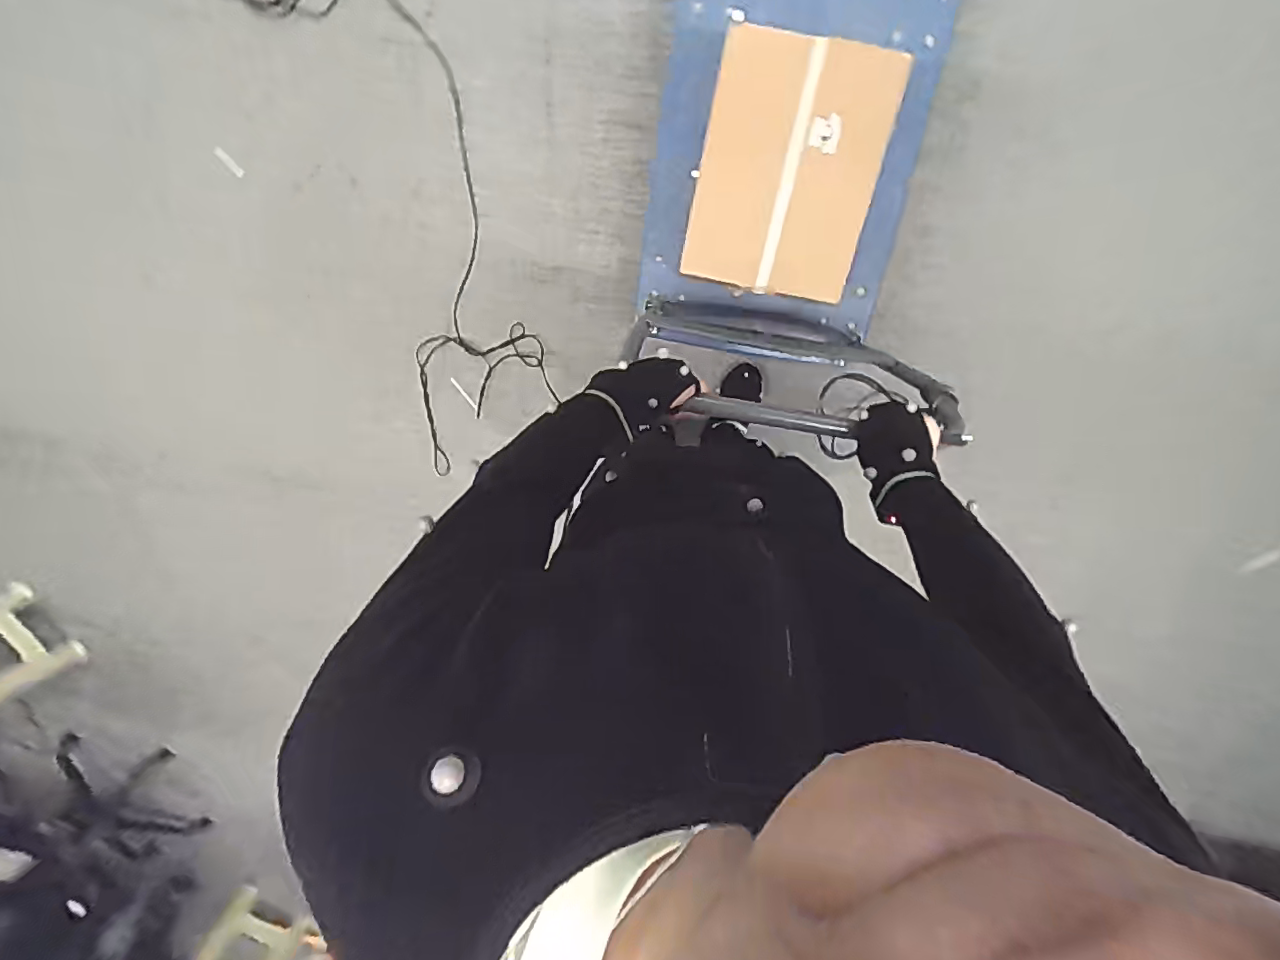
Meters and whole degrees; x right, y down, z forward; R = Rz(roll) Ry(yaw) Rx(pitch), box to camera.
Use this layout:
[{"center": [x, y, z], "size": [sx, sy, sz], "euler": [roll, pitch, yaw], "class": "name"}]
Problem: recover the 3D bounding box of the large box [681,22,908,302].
[{"center": [0.274, -0.593, 1.098], "size": [0.320, 0.320, 0.408], "euler": [12, 109, 0], "class": "large box"}]
